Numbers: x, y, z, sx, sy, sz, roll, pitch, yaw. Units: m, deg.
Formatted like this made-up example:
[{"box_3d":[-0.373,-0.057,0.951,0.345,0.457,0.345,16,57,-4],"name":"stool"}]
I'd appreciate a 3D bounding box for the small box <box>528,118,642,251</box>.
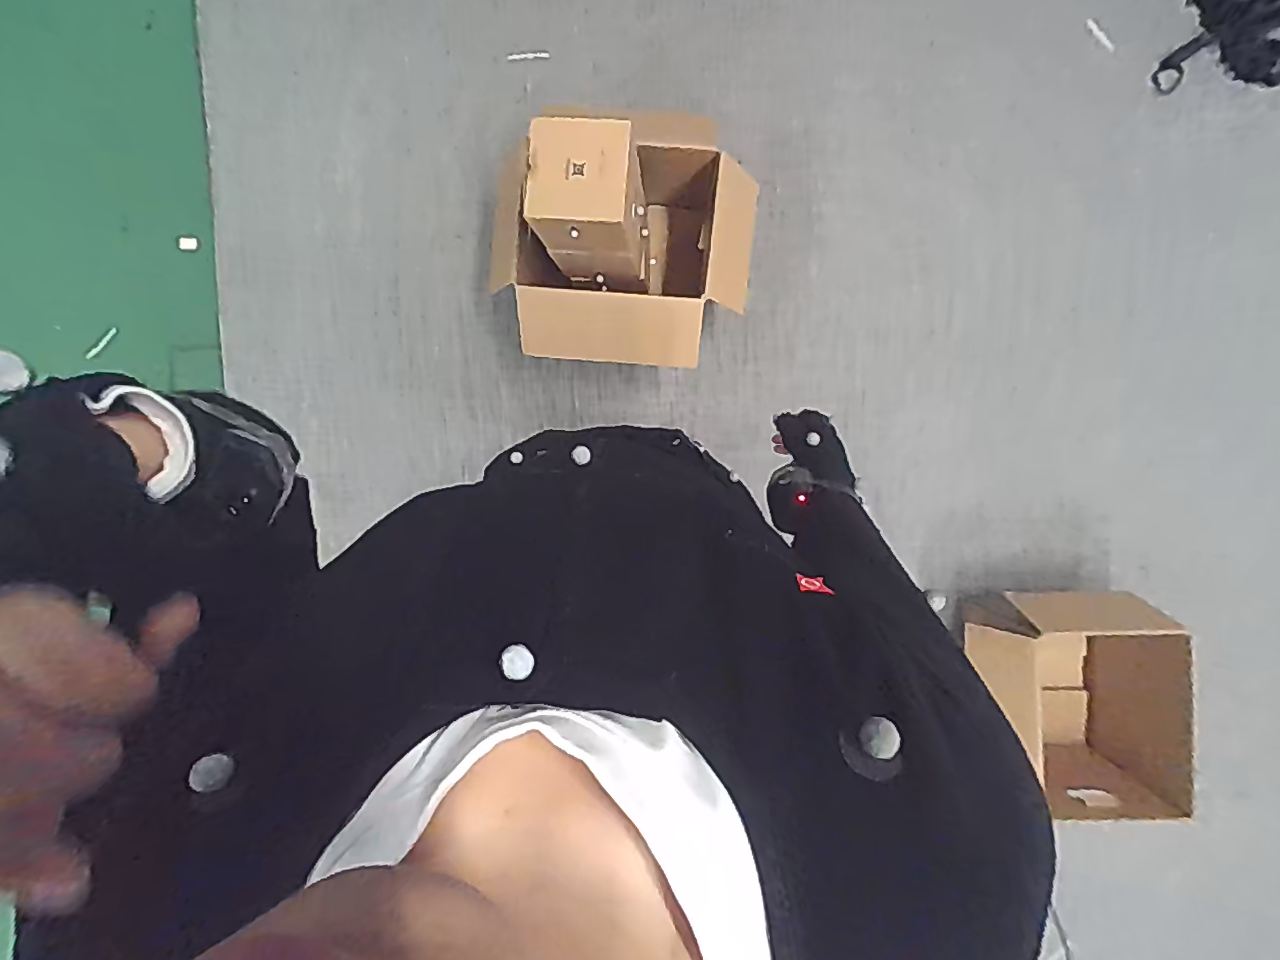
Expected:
[{"box_3d":[-0.094,-0.533,0.995,0.179,0.176,0.168,4,96,4],"name":"small box"}]
